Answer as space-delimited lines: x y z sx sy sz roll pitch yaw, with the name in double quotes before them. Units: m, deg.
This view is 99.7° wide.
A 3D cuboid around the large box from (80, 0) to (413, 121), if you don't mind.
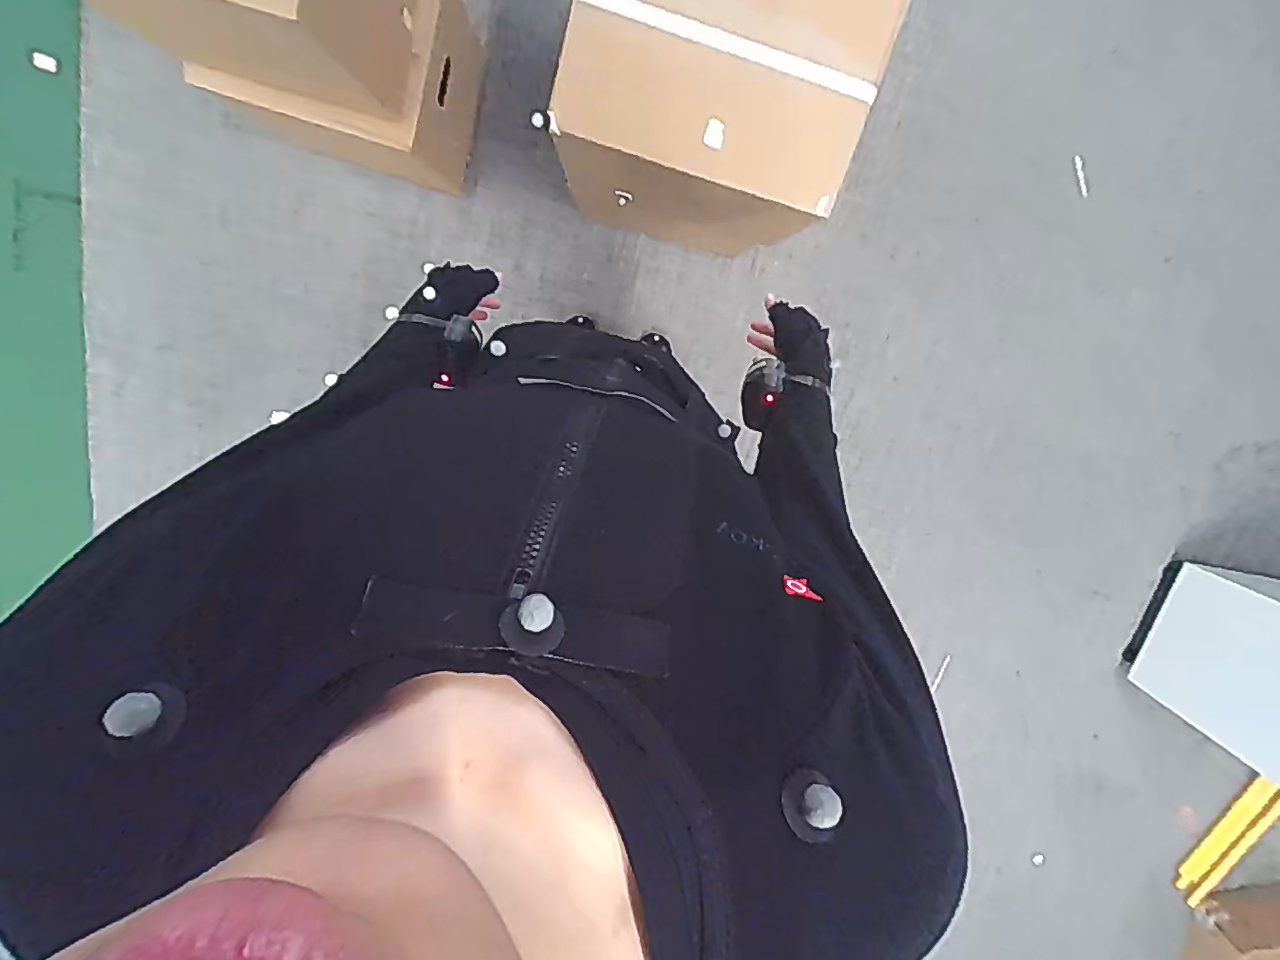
"large box" -0.586 -0.794 0.776 0.408 0.320 0.320 13 102 -6
